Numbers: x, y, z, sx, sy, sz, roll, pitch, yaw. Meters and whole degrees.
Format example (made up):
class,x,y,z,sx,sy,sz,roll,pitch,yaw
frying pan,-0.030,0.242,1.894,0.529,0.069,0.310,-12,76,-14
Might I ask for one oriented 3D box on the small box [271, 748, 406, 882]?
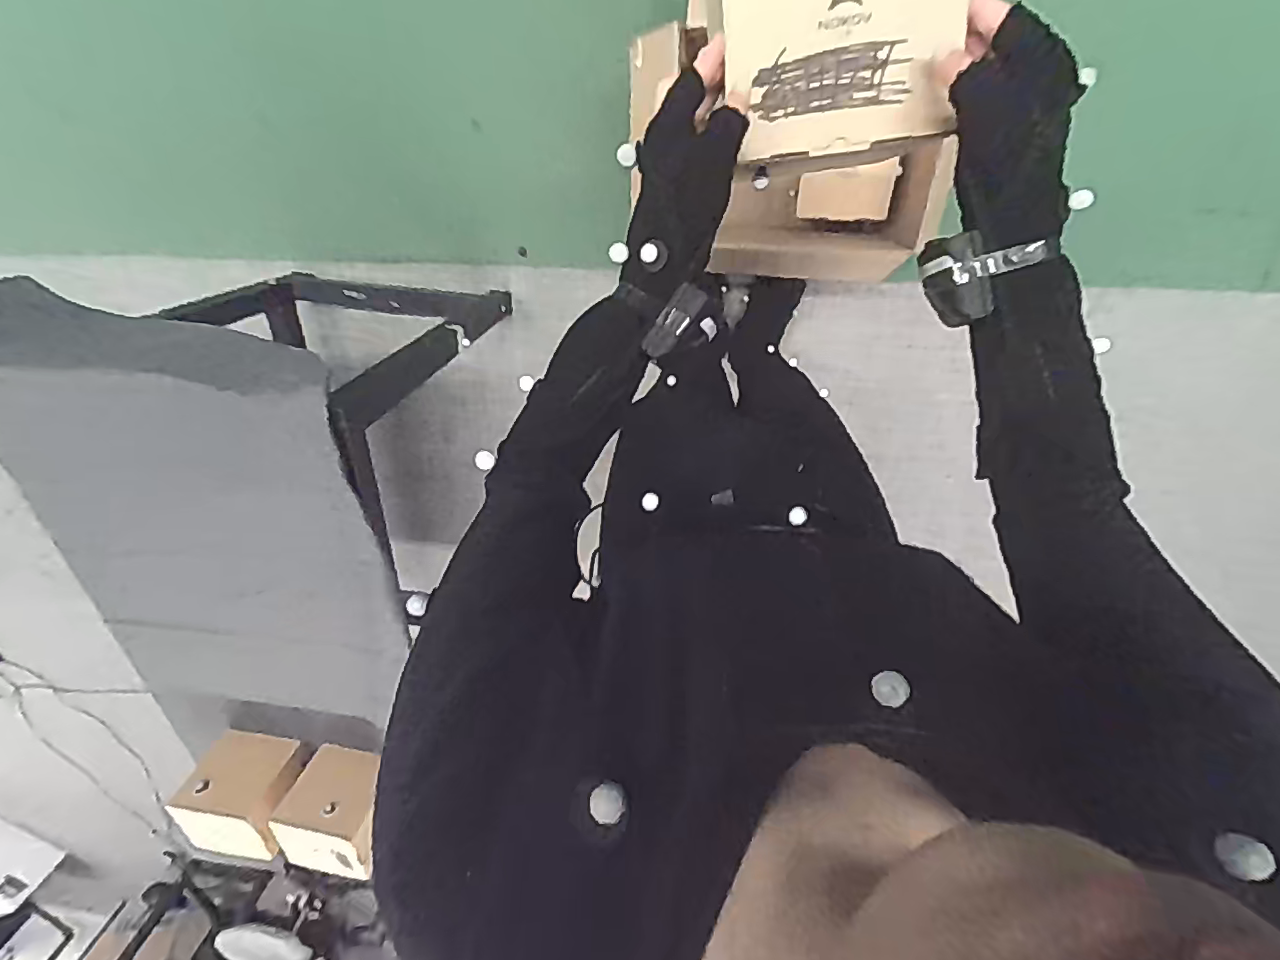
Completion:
class,x,y,z,sx,sy,sz,roll,pitch,yaw
small box,-0.608,0.689,1.124,0.179,0.176,0.168,8,121,6

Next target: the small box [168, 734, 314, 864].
class,x,y,z,sx,sy,sz,roll,pitch,yaw
small box,-0.823,0.667,1.144,0.179,0.176,0.168,7,122,5
